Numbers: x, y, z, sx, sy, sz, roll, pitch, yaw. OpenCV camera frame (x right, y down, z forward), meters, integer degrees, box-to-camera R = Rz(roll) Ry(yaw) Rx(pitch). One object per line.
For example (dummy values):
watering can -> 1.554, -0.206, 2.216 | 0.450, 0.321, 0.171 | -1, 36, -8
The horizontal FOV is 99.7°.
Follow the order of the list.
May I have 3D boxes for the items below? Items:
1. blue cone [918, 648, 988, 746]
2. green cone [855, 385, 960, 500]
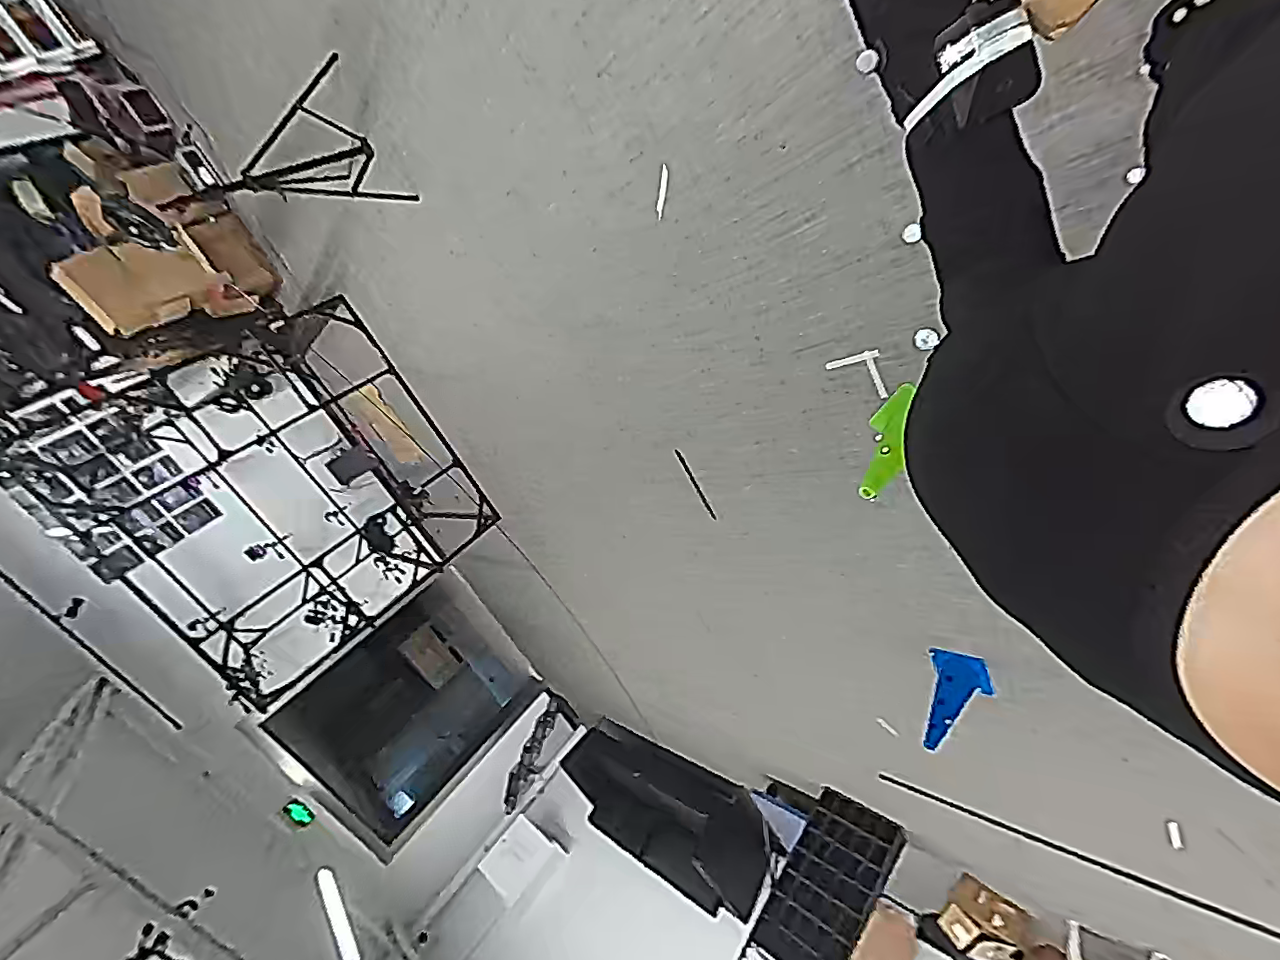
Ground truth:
blue cone -> 1.144, 0.838, 2.034 | 0.192, 0.380, 0.193 | 2, 127, 50
green cone -> 0.703, -0.071, 1.524 | 0.200, 0.368, 0.202 | 40, 149, 12
